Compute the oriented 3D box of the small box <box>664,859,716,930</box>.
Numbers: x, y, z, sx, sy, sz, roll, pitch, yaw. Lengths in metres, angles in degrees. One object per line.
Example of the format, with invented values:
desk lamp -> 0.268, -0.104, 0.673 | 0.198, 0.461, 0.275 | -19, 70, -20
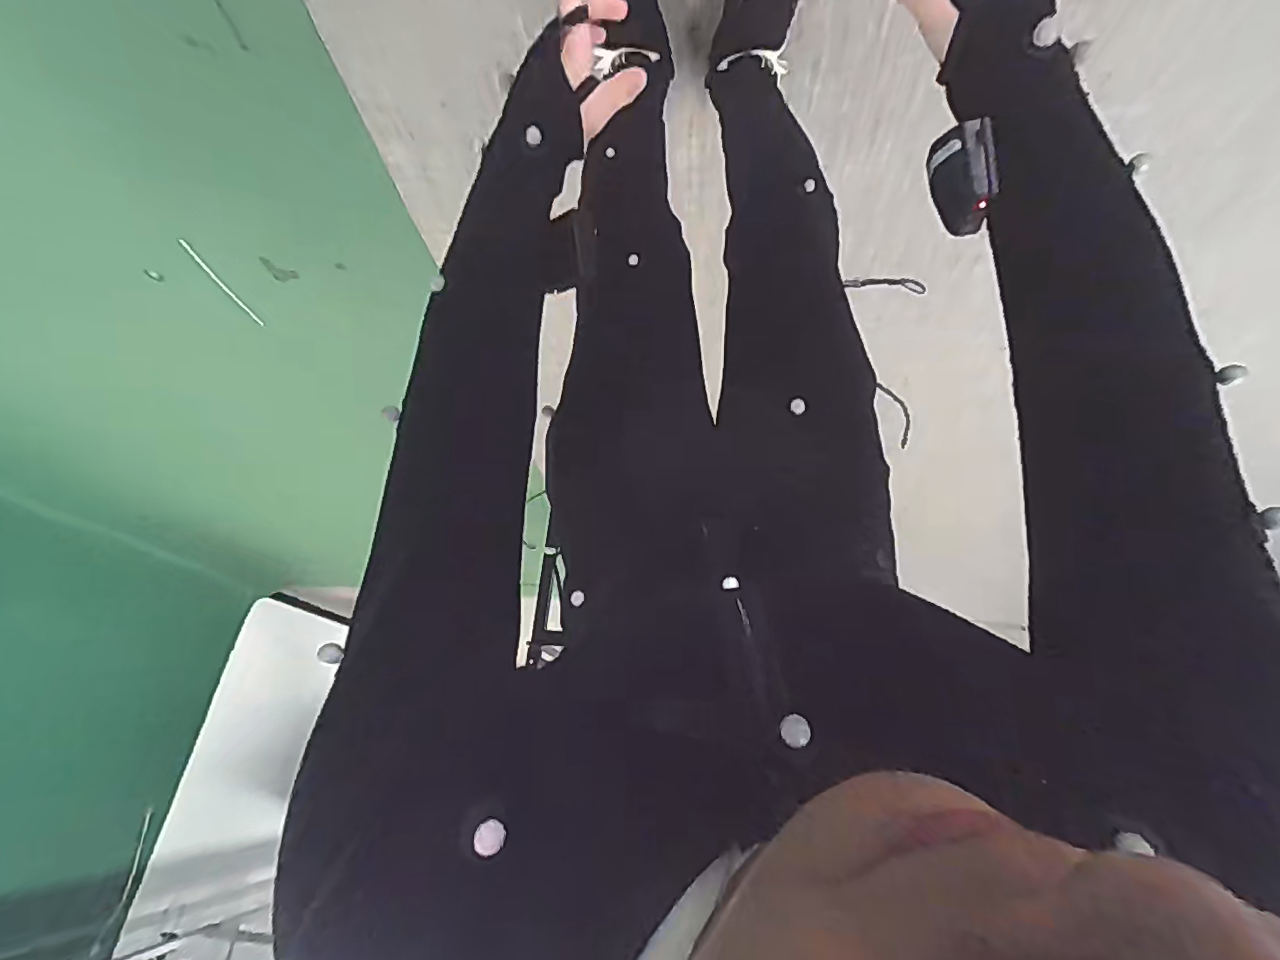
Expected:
small box -> 0.181, 1.489, 1.952 | 0.179, 0.176, 0.168 | 1, 154, 7
